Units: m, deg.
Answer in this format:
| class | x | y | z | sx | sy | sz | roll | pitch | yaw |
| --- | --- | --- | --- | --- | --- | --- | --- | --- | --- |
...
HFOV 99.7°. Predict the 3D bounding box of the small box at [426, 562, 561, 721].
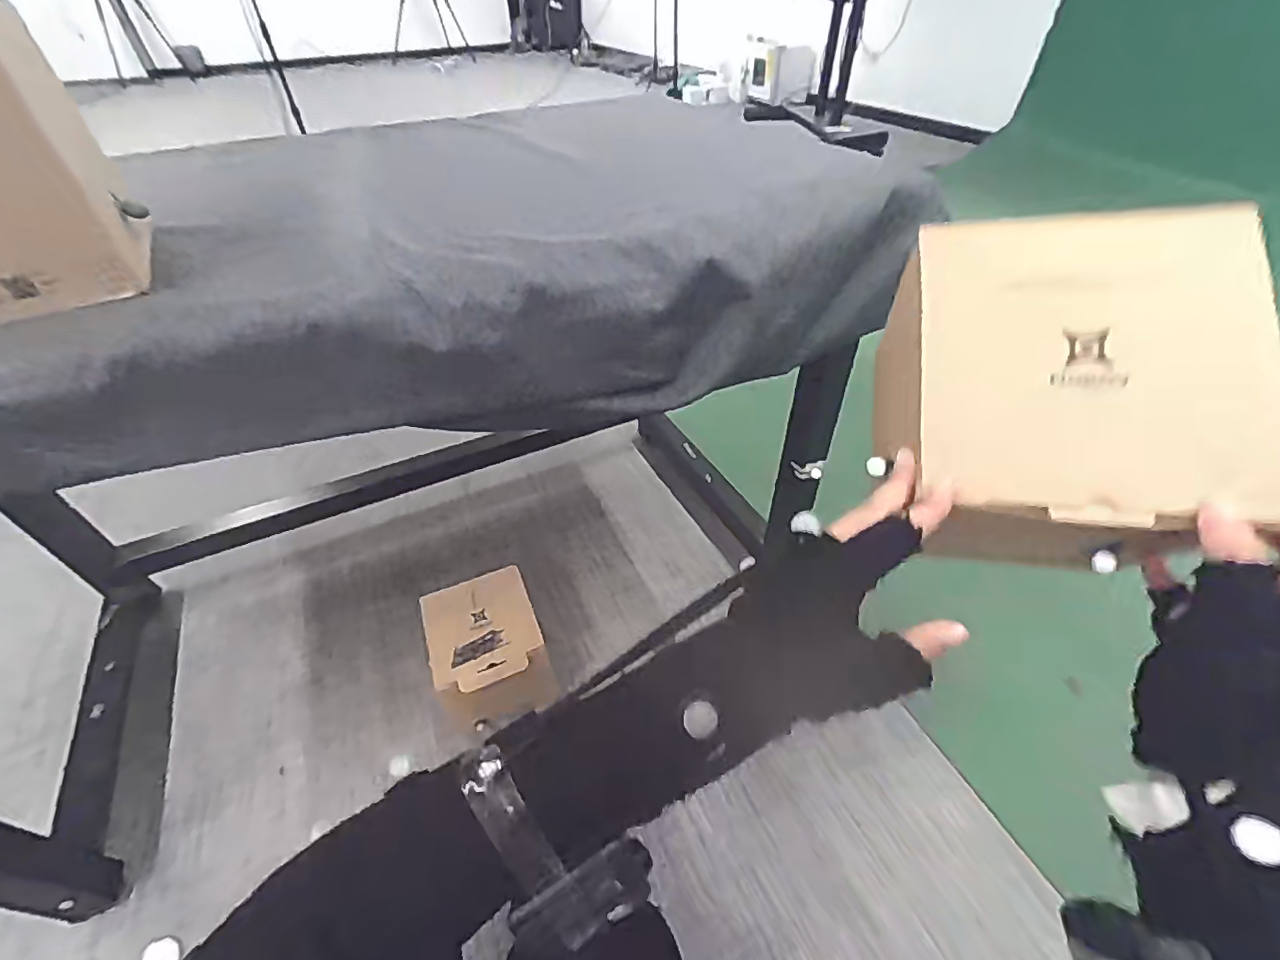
| class | x | y | z | sx | sy | sz | roll | pitch | yaw |
| --- | --- | --- | --- | --- | --- | --- | --- | --- | --- |
| small box | -0.241 | 0.277 | 0.908 | 0.168 | 0.176 | 0.179 | -18 | 45 | -16 |
